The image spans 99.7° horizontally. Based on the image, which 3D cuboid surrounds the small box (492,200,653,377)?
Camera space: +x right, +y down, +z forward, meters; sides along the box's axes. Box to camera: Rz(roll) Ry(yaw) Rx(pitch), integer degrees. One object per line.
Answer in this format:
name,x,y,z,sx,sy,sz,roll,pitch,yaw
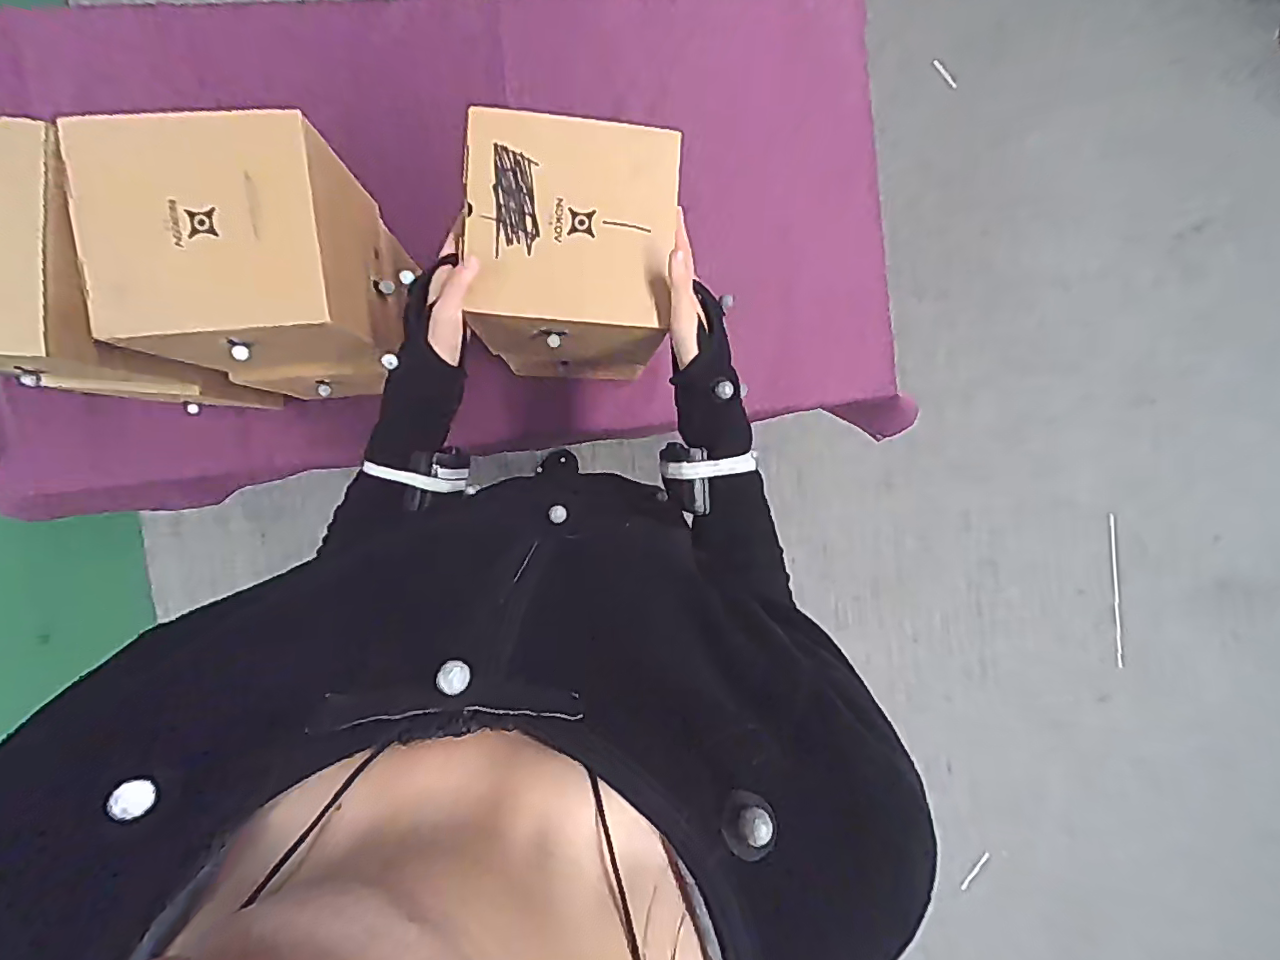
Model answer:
small box,-0.082,-0.226,0.680,0.179,0.176,0.168,1,93,-7
